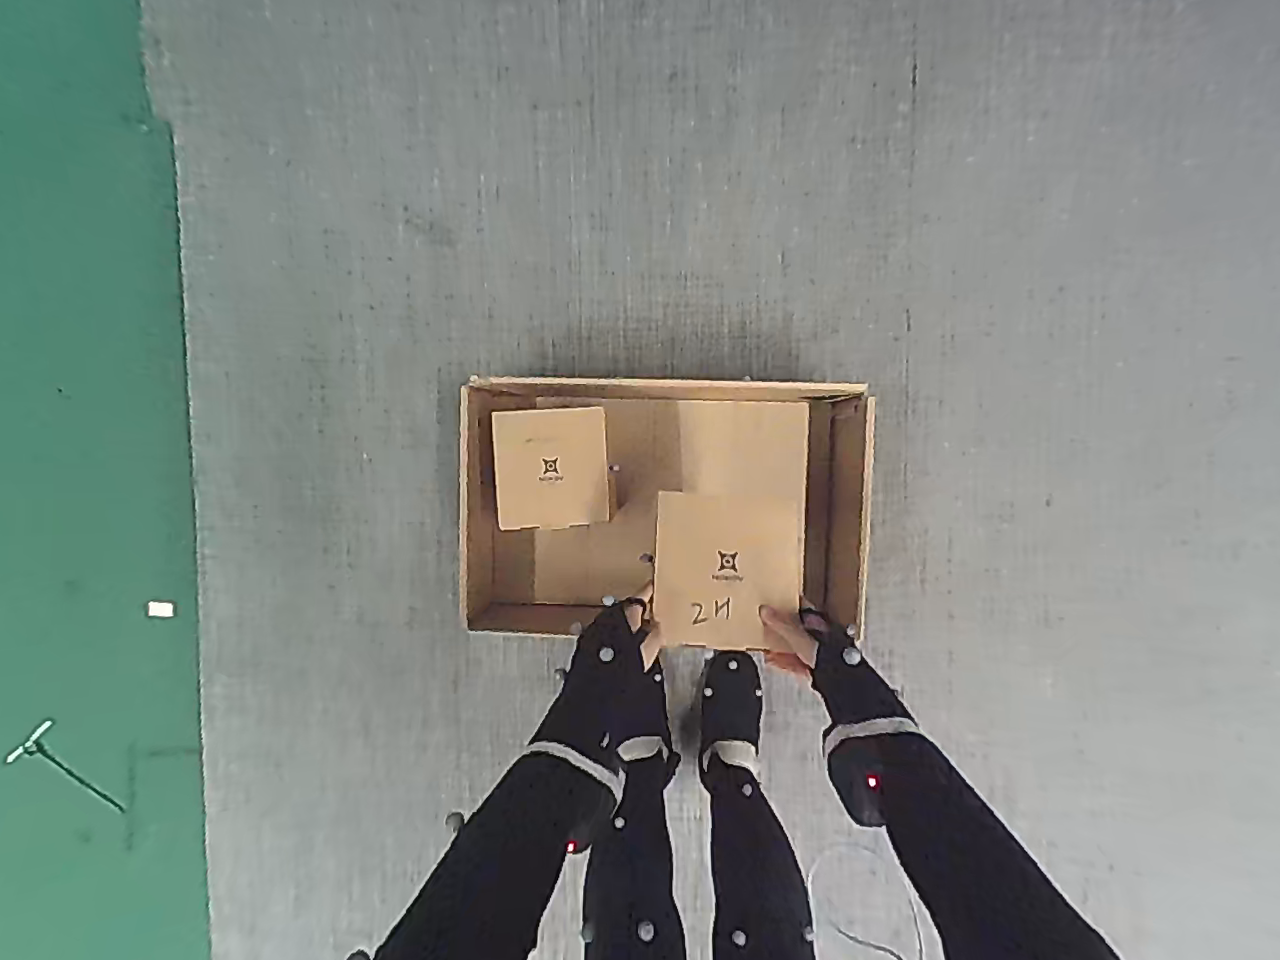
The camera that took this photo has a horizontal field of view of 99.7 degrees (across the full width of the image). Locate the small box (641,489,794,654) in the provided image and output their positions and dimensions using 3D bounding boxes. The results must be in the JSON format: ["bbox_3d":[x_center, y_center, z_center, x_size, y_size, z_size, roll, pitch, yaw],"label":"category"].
[{"bbox_3d":[0.090,0.120,0.688,0.168,0.176,0.179,4,76,0],"label":"small box"}]

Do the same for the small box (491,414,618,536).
[{"bbox_3d":[-0.126,-0.014,0.858,0.168,0.176,0.179,-2,95,2],"label":"small box"}]
